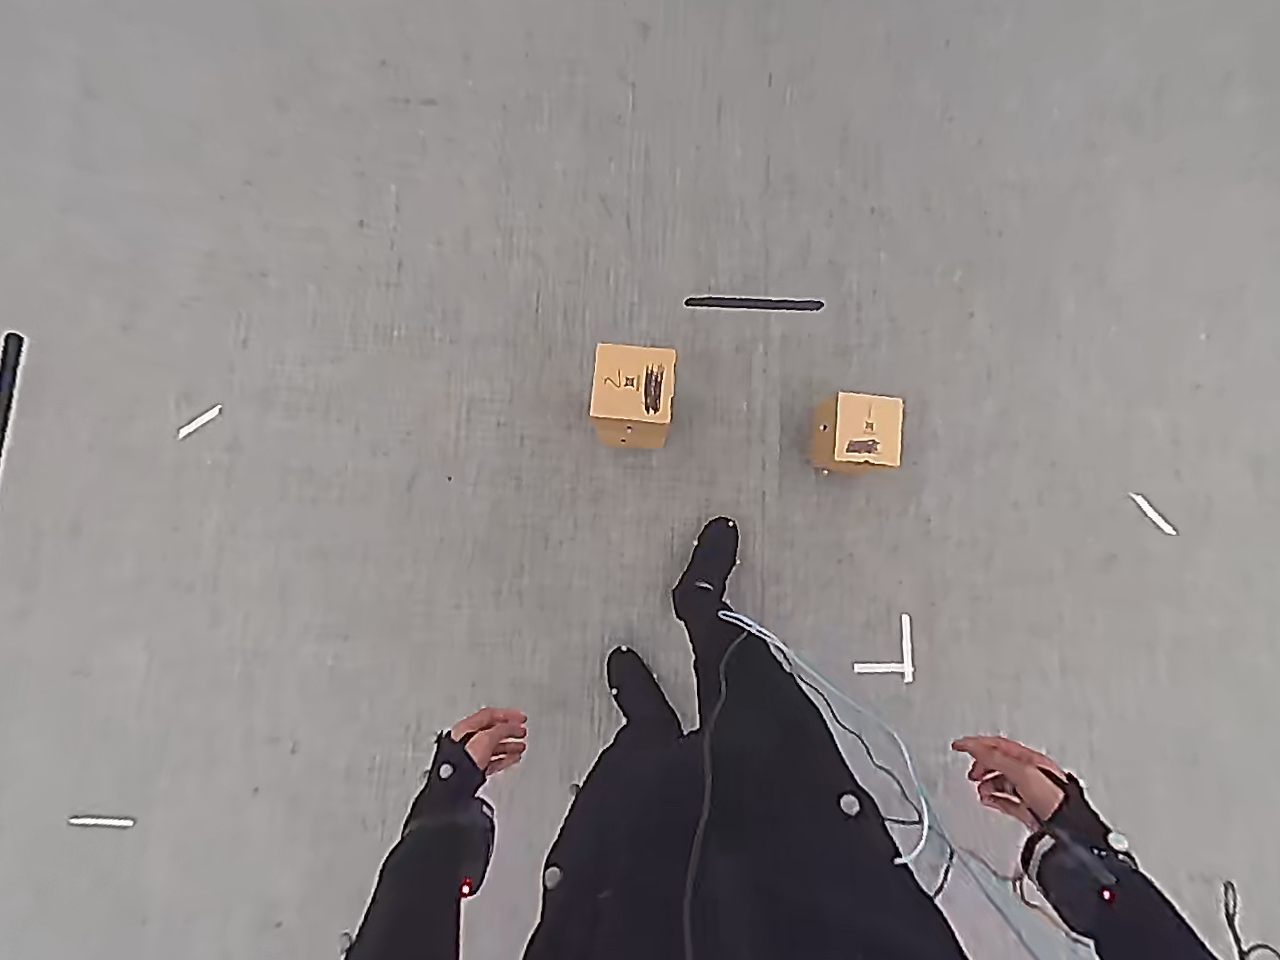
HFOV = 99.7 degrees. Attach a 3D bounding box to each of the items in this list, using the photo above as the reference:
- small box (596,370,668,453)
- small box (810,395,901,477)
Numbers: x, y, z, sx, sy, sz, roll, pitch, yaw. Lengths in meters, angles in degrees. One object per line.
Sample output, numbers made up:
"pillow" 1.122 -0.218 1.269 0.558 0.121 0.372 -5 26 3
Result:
"small box" -0.018 -0.171 1.399 0.168 0.176 0.179 4 83 0
"small box" 0.552 -0.107 1.403 0.168 0.176 0.179 6 83 -1
